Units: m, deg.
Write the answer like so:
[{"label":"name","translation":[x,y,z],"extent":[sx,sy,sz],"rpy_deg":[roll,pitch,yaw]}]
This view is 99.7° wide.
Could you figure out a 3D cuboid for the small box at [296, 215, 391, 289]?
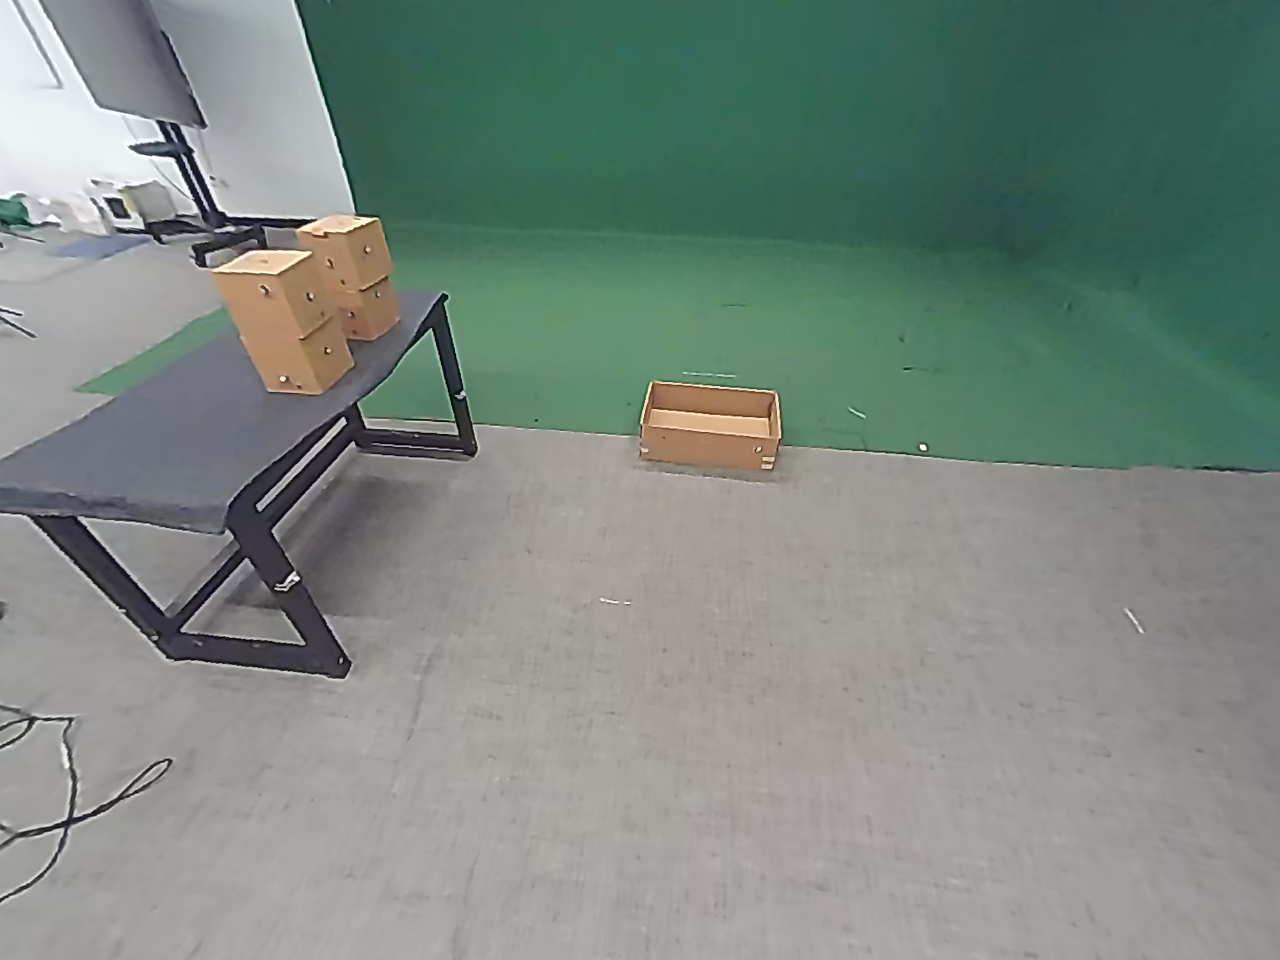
[{"label":"small box","translation":[-0.904,-0.703,1.668],"extent":[0.168,0.176,0.179],"rpy_deg":[9,41,10]}]

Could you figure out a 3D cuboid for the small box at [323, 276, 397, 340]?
[{"label":"small box","translation":[-0.923,-0.571,1.765],"extent":[0.168,0.176,0.179],"rpy_deg":[7,39,7]}]

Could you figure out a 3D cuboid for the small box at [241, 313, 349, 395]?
[{"label":"small box","translation":[-0.942,-0.356,1.503],"extent":[0.168,0.176,0.179],"rpy_deg":[4,41,6]}]

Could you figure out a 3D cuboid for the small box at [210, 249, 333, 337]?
[{"label":"small box","translation":[-0.935,-0.480,1.395],"extent":[0.179,0.176,0.168],"rpy_deg":[3,40,5]}]
